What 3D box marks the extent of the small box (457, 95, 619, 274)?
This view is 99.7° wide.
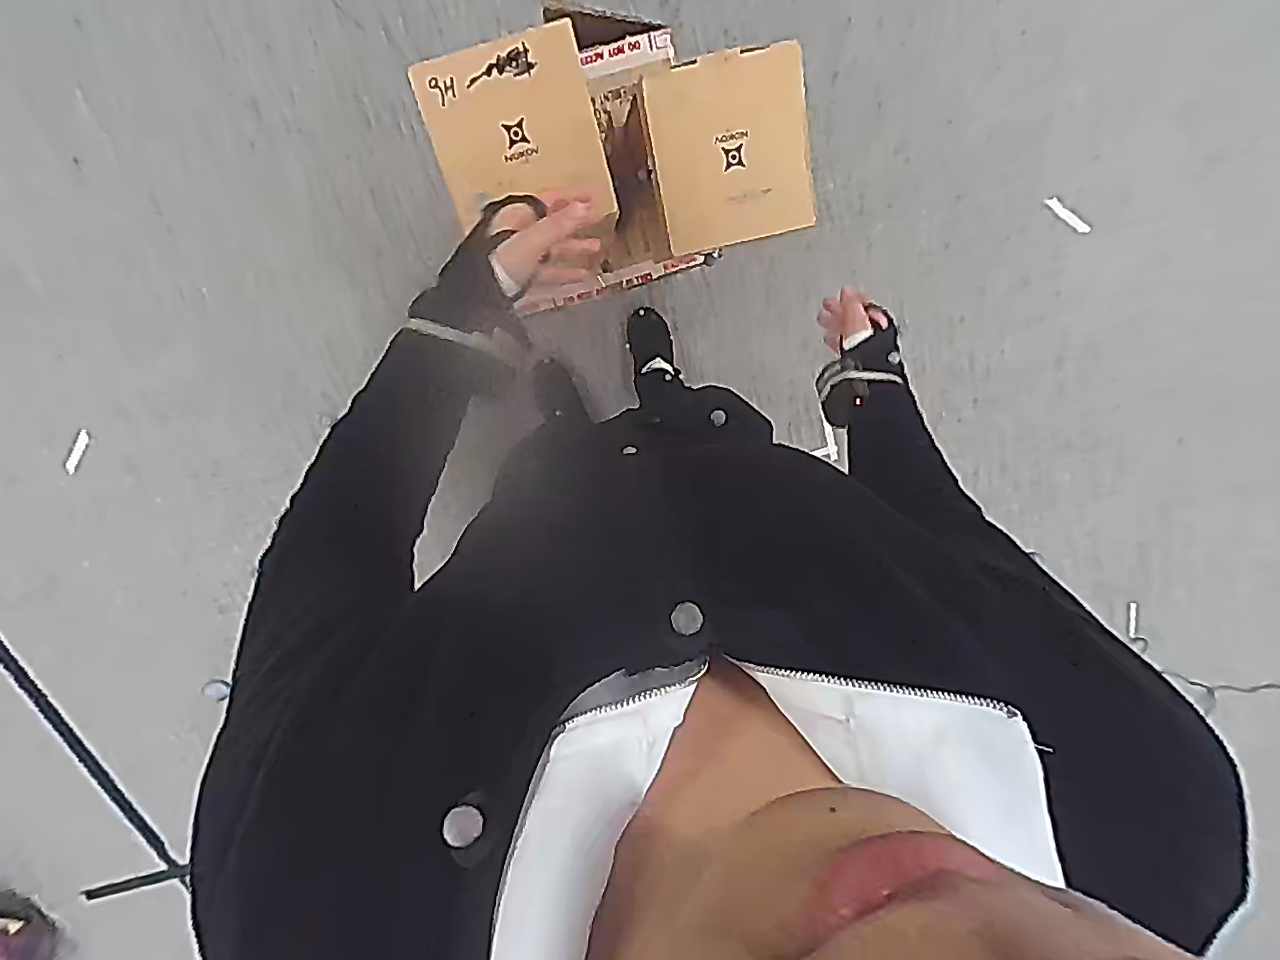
[{"bbox_3d":[-0.136,-0.407,0.779,0.168,0.176,0.179,-18,112,3],"label":"small box"}]

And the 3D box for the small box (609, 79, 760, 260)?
[{"bbox_3d":[0.056,-0.434,0.786,0.168,0.176,0.179,-16,110,0],"label":"small box"}]
